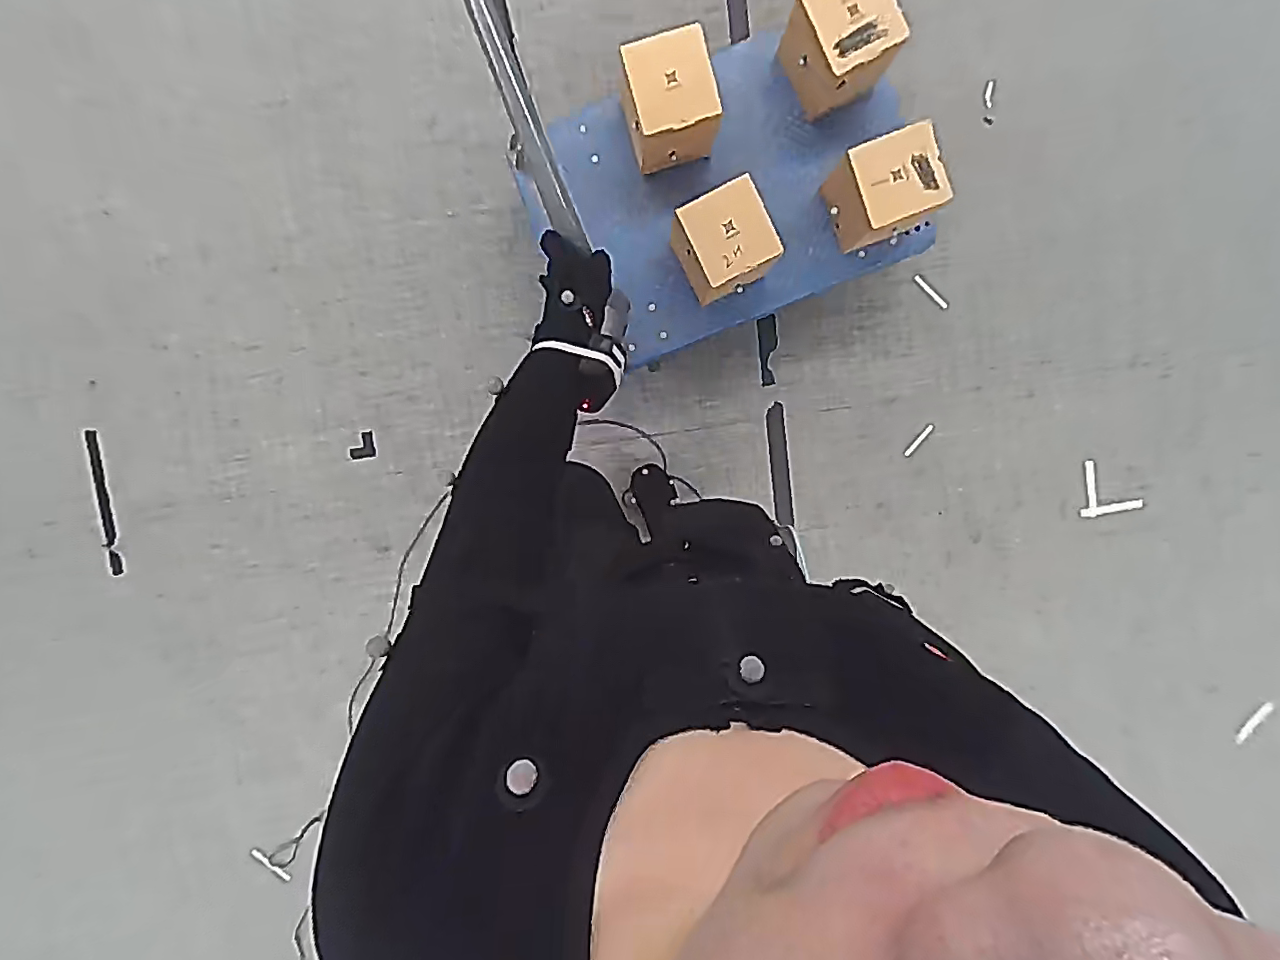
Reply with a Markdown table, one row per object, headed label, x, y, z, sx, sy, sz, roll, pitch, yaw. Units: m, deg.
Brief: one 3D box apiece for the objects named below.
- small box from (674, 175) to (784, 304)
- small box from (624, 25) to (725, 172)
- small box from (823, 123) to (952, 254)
| label | x | y | z | sx | sy | sz | roll | pitch | yaw |
| --- | --- | --- | --- | --- | --- | --- | --- | --- | --- |
| small box | 0.181 | -0.508 | 1.169 | 0.168 | 0.176 | 0.179 | -26 | 95 | 2 |
| small box | 0.064 | -0.791 | 1.139 | 0.168 | 0.176 | 0.179 | -16 | 98 | 0 |
| small box | 0.524 | -0.616 | 1.163 | 0.179 | 0.176 | 0.168 | -20 | 96 | 2 |
